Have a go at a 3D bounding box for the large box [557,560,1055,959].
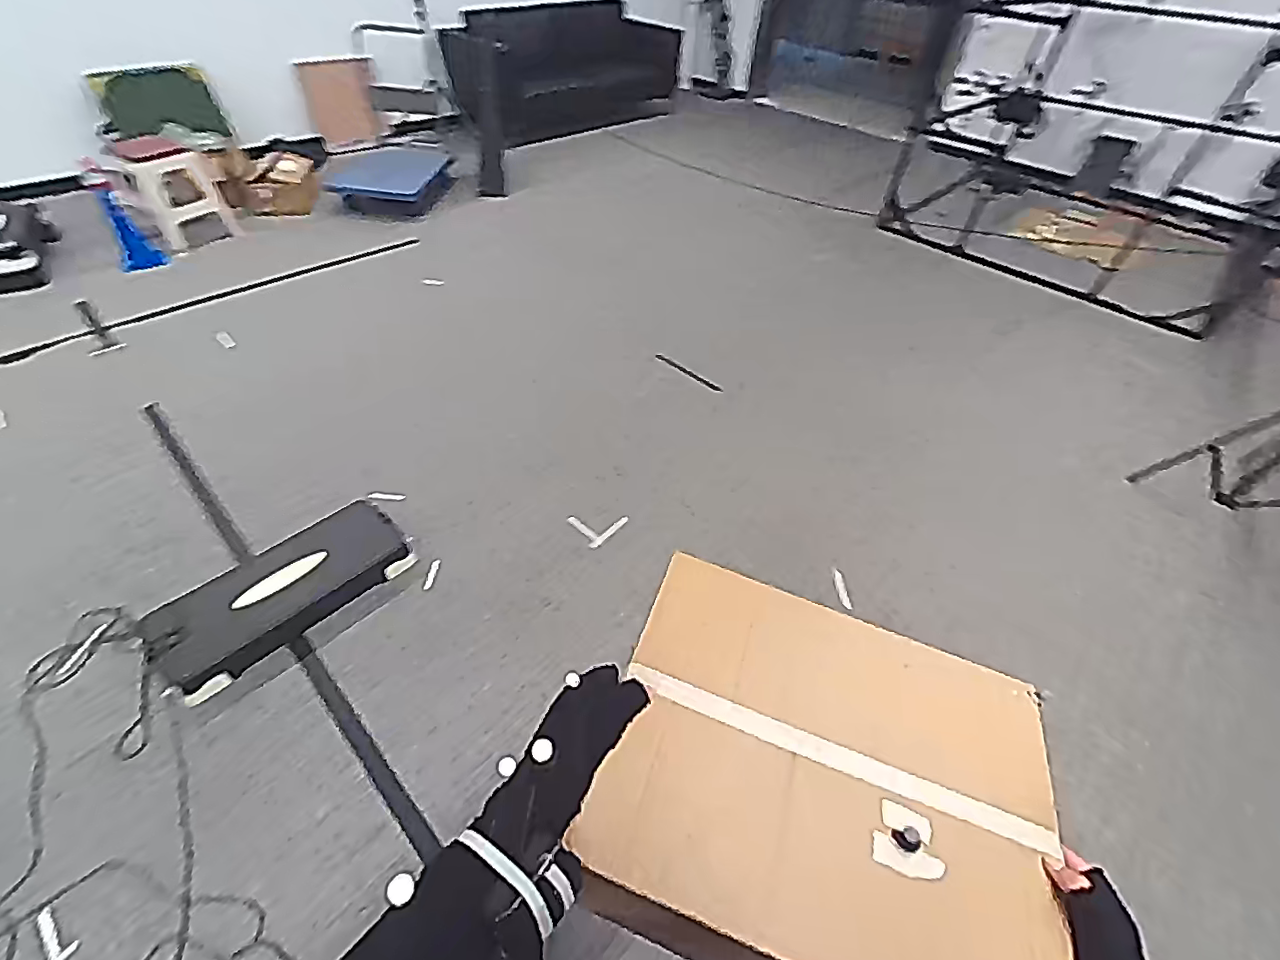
[{"bbox_3d":[0.148,0.354,0.621,0.408,0.320,0.320,19,48,7],"label":"large box"}]
